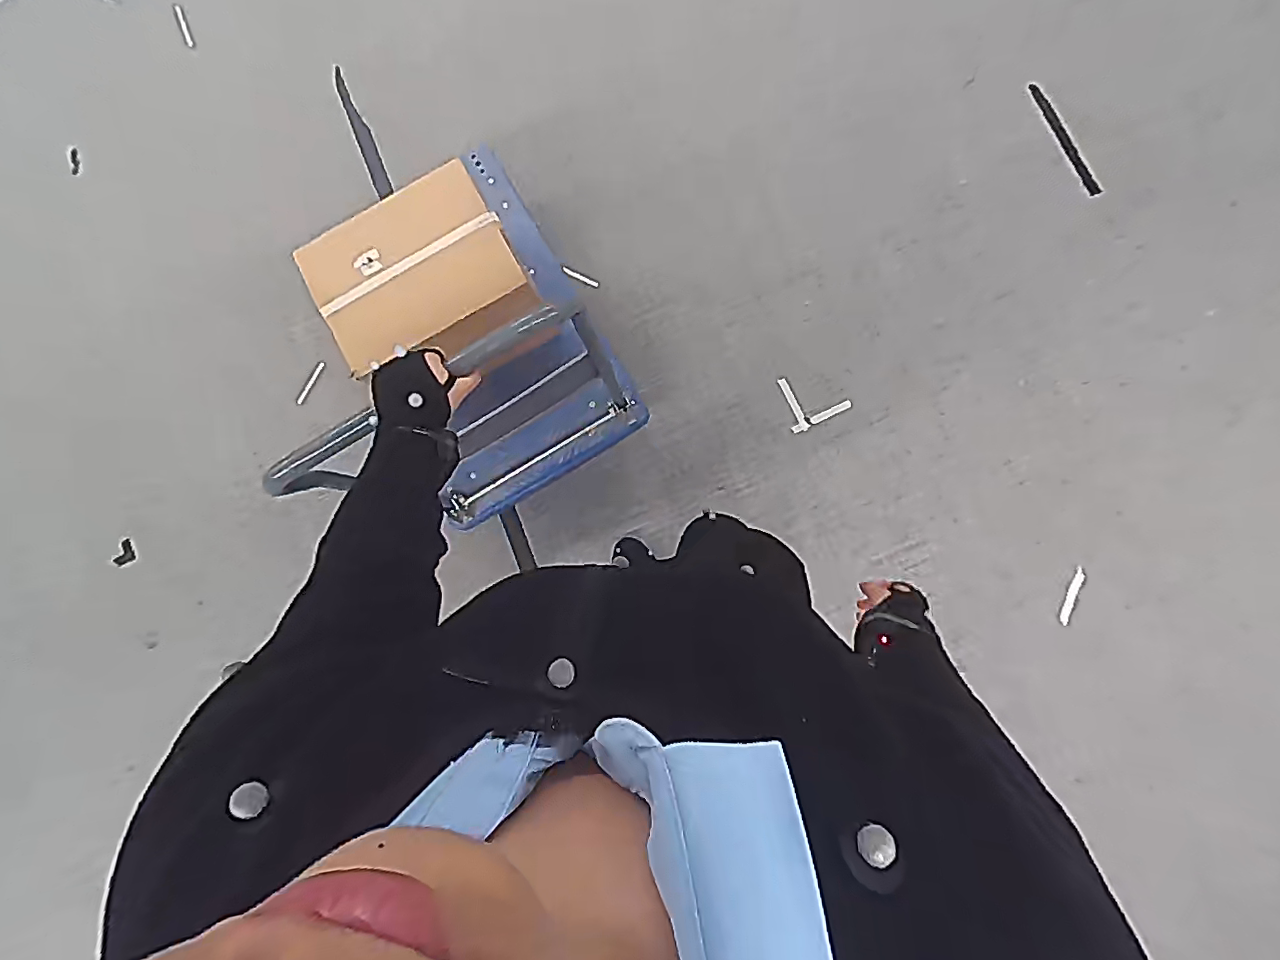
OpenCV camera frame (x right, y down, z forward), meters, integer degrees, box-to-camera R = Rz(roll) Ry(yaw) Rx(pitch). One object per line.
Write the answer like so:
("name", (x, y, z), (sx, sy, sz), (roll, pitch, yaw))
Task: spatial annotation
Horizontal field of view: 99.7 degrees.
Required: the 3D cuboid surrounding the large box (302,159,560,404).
("large box", (-0.458, -0.431, 1.264), (0.408, 0.320, 0.320), (-29, 83, 2))
